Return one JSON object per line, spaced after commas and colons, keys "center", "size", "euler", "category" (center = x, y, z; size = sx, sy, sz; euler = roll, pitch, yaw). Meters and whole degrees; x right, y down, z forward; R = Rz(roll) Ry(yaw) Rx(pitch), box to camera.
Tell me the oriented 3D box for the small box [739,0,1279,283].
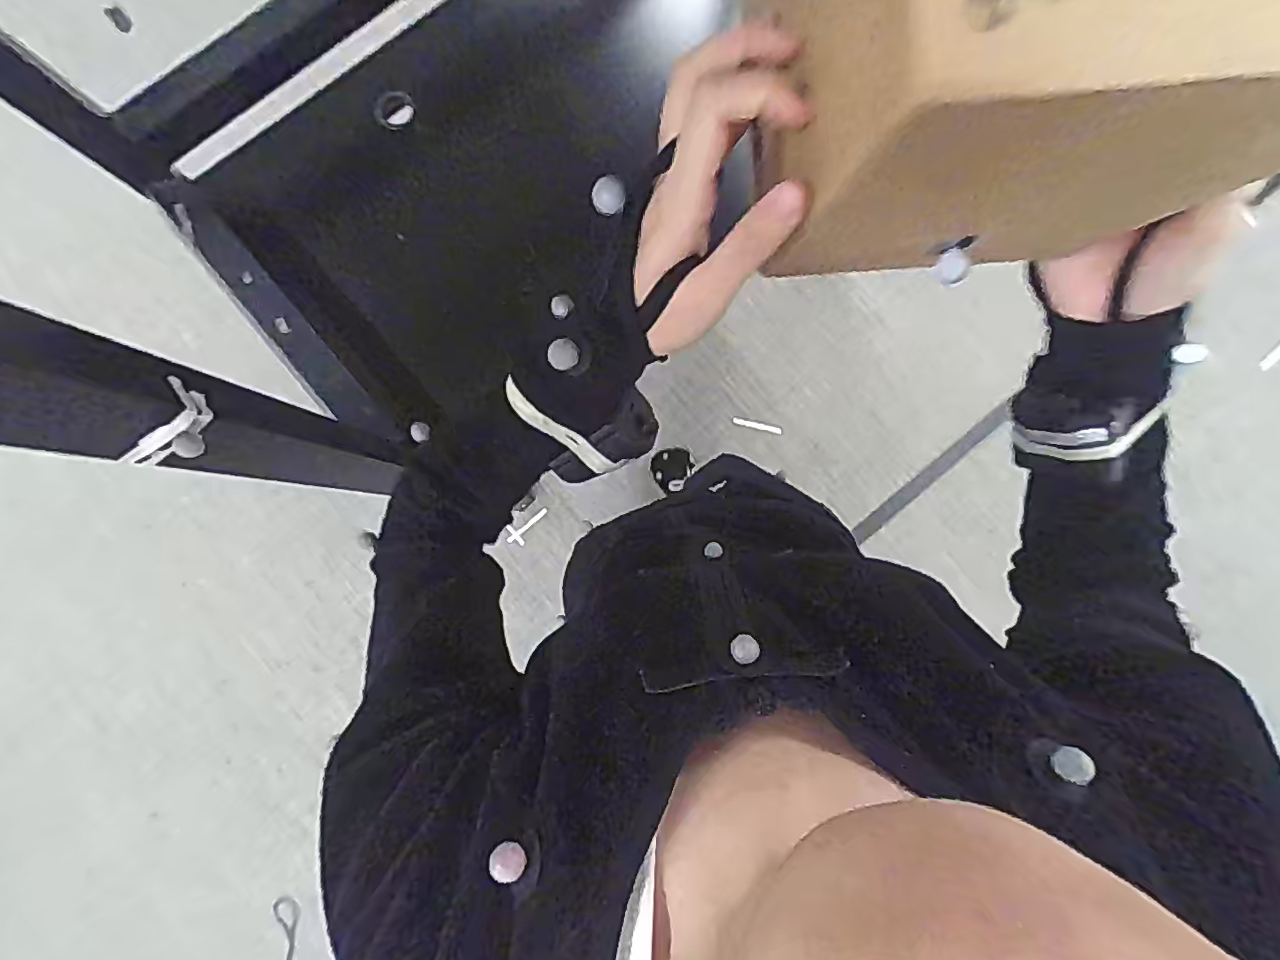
{"center": [0.146, -0.189, 0.224], "size": [0.179, 0.176, 0.168], "euler": [-3, 95, 0], "category": "small box"}
